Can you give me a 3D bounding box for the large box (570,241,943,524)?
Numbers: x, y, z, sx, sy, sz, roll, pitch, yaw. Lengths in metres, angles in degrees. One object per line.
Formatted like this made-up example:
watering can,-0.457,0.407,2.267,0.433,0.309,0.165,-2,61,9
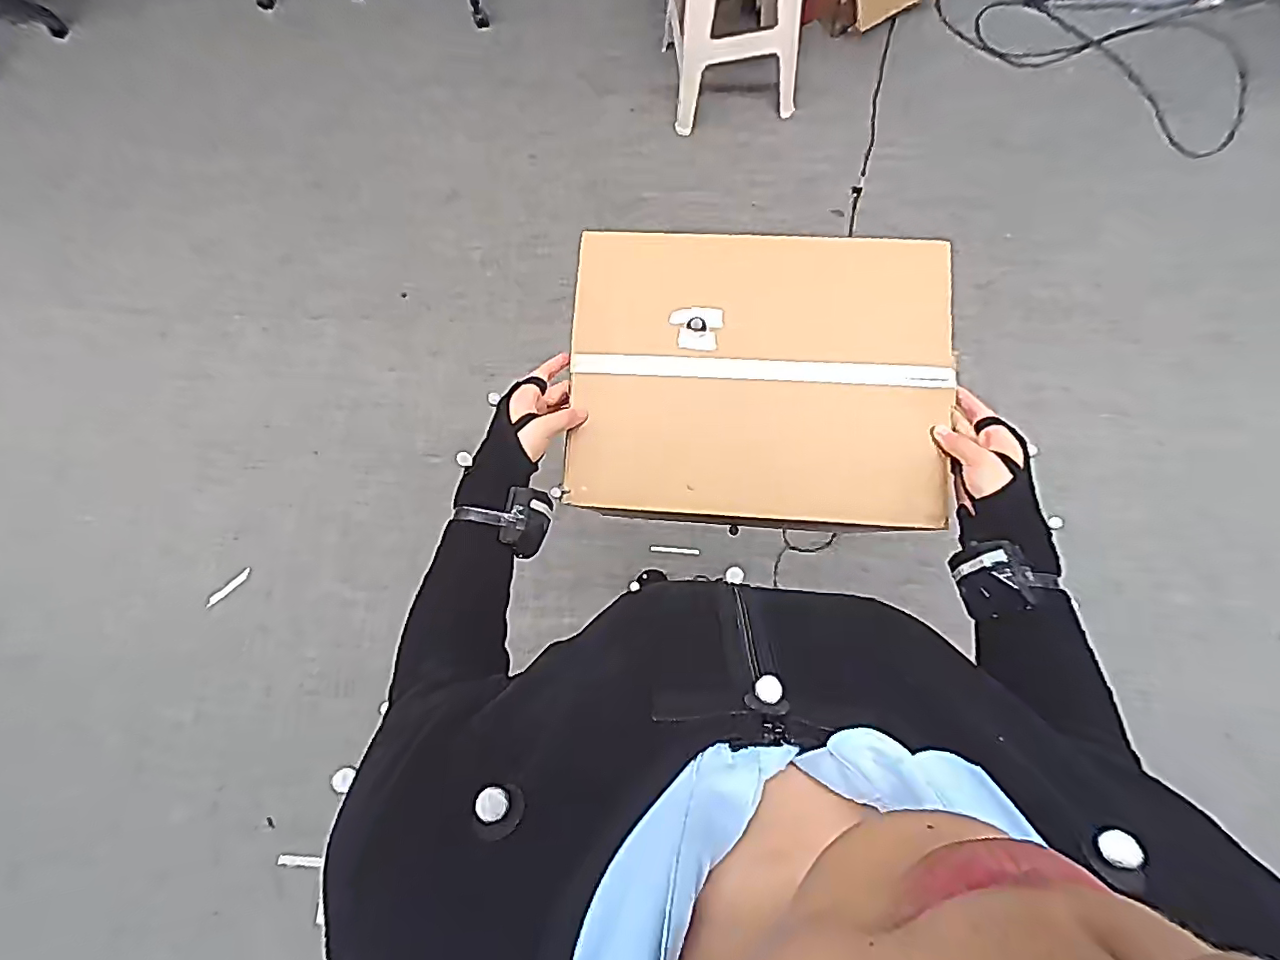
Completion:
large box,0.140,-0.102,0.744,0.408,0.320,0.320,3,82,5
